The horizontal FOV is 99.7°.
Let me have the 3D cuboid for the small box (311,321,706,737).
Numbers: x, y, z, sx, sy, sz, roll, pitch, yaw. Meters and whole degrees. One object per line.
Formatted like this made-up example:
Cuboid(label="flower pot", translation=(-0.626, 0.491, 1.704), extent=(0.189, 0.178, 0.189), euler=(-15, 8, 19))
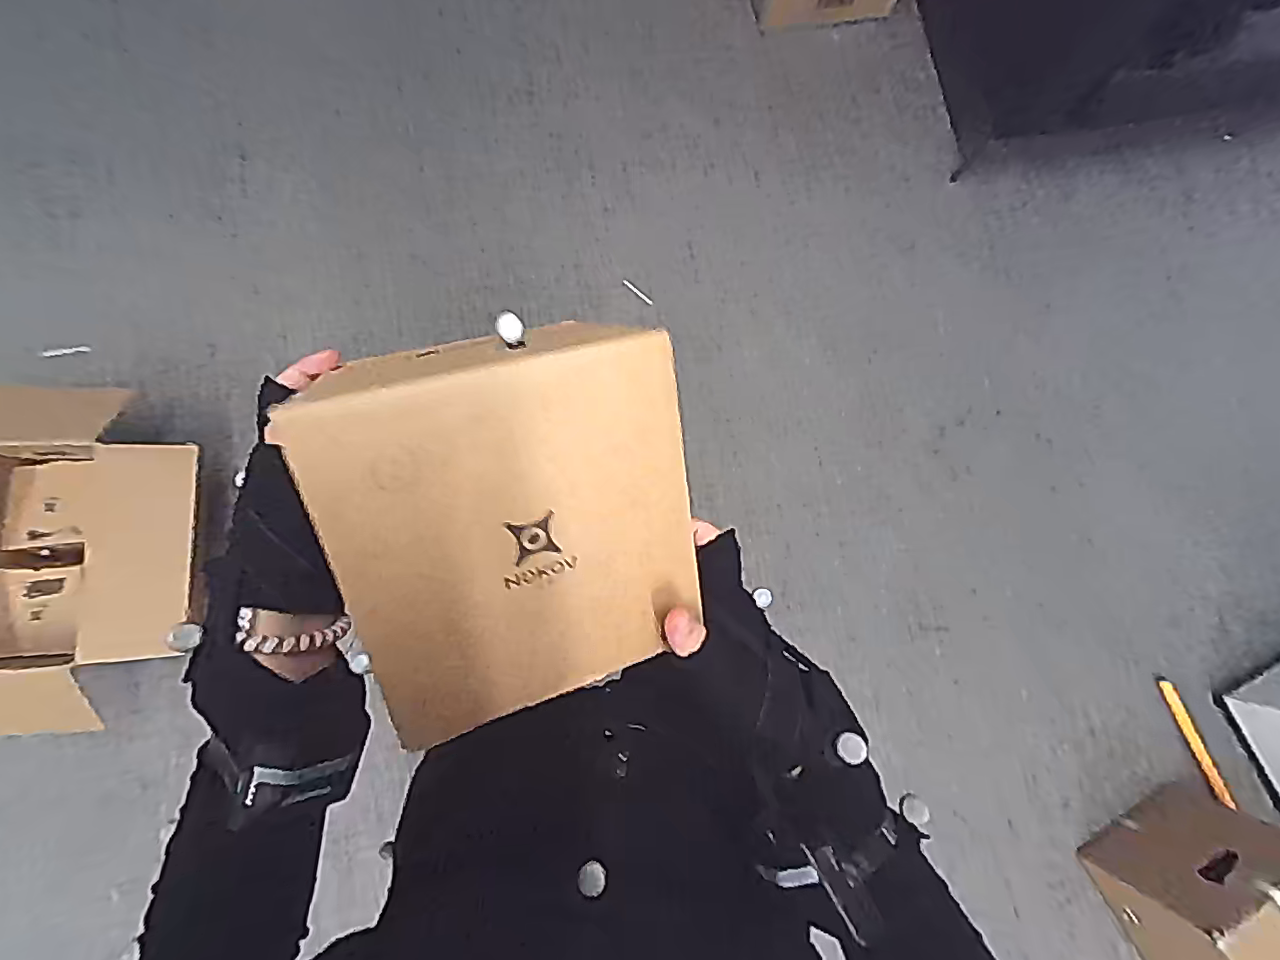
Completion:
Cuboid(label="small box", translation=(-0.077, 0.003, 0.328), extent=(0.168, 0.176, 0.179), euler=(-16, 115, -20))
